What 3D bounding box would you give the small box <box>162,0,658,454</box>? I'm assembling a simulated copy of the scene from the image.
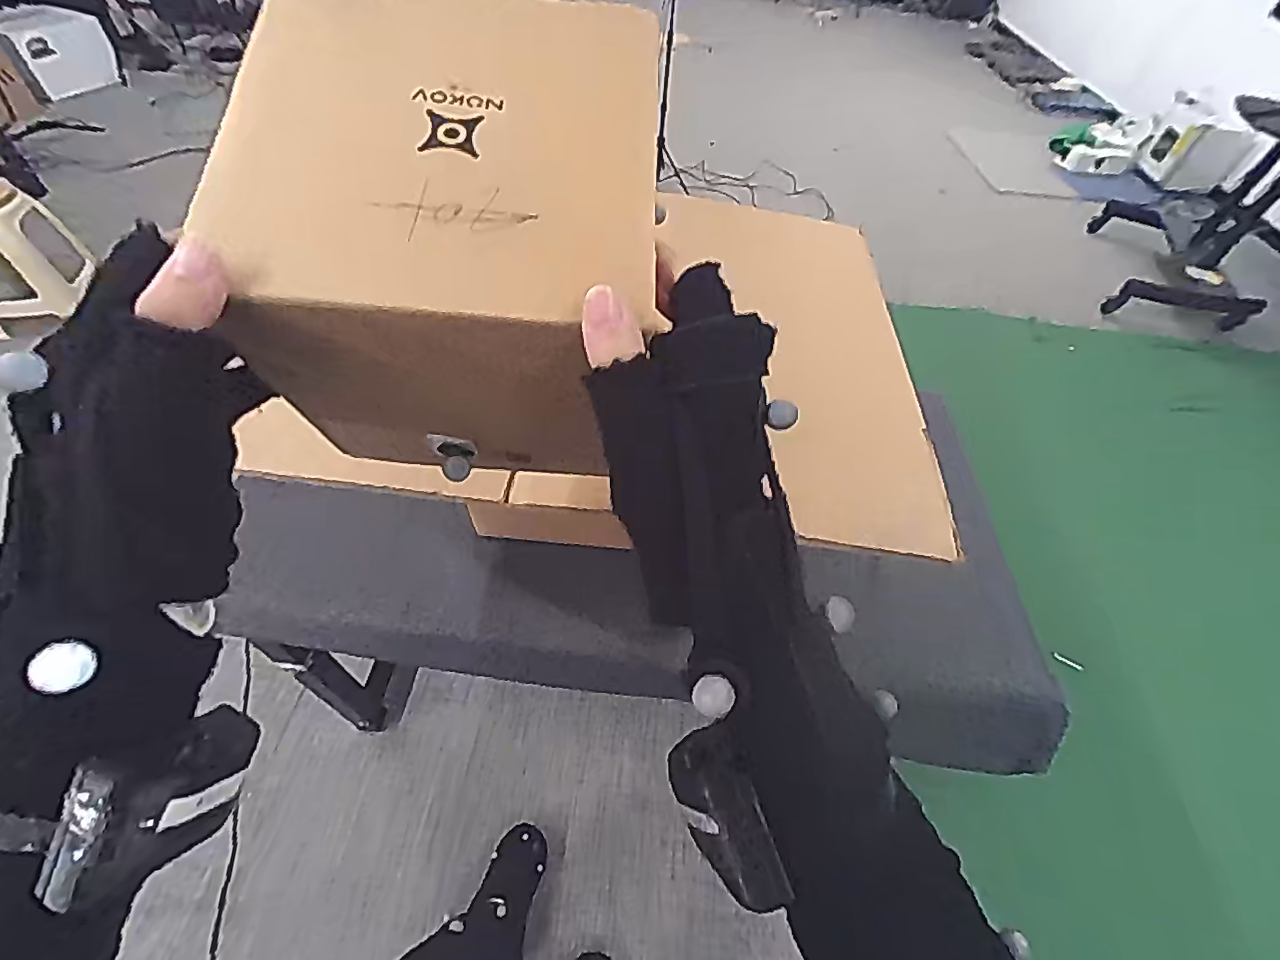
[{"bbox_3d":[-0.085,-0.129,0.289,0.168,0.176,0.179,4,71,-6],"label":"small box"}]
